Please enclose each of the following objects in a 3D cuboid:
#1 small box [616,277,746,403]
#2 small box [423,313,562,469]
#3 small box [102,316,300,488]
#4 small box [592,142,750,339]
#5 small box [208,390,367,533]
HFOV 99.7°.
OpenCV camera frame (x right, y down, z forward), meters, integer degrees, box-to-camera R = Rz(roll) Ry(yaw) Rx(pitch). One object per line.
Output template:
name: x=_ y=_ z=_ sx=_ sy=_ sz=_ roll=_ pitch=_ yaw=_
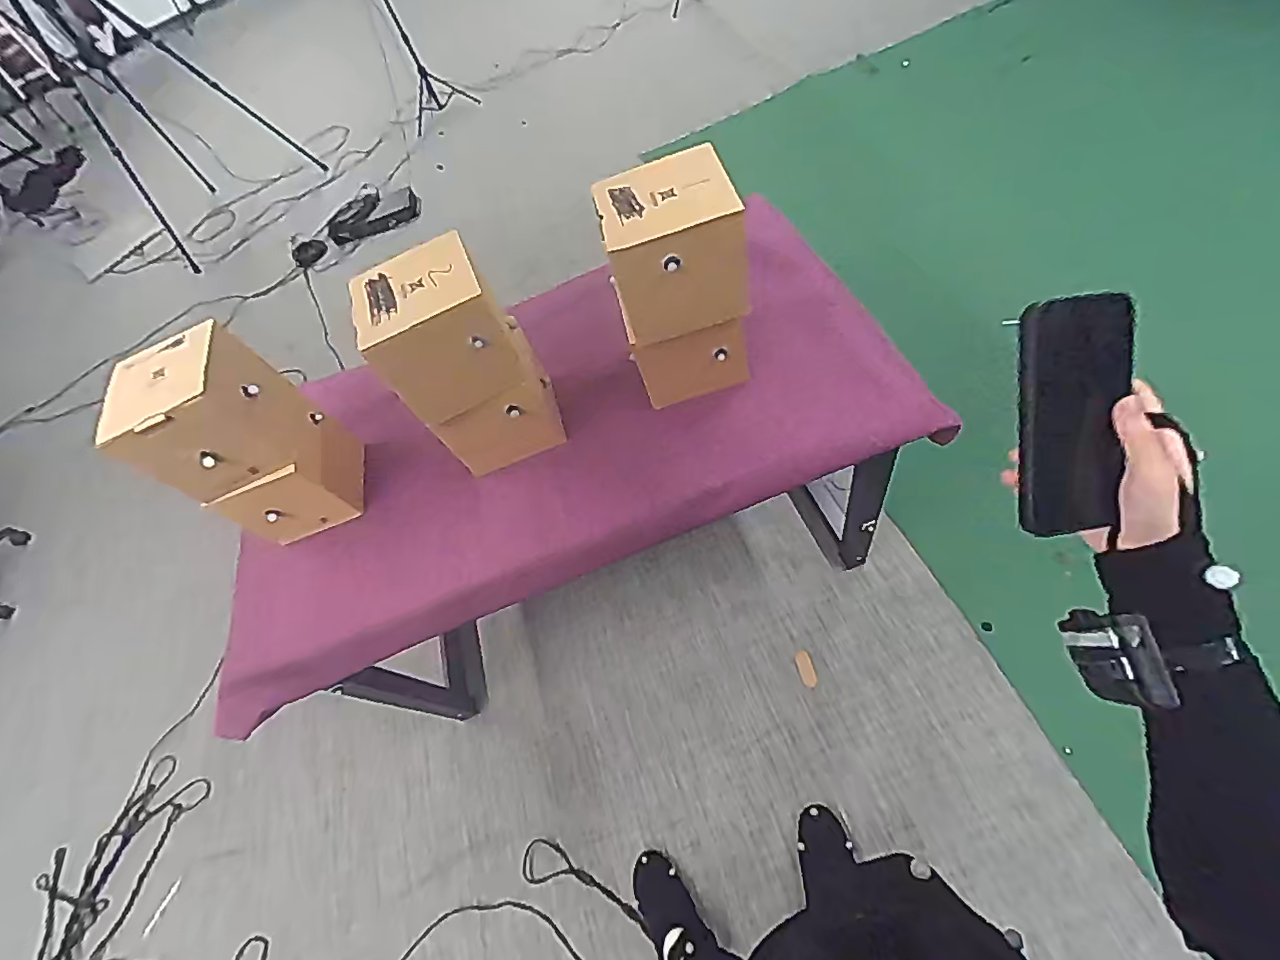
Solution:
small box: x=0.075 y=-0.257 z=0.909 sx=0.179 sy=0.176 sz=0.168 roll=-16 pitch=57 yaw=7
small box: x=-0.247 y=-0.147 z=0.934 sx=0.179 sy=0.176 sz=0.168 roll=-21 pitch=57 yaw=3
small box: x=-0.658 y=-0.109 z=0.835 sx=0.168 sy=0.176 sz=0.179 roll=-25 pitch=58 yaw=0
small box: x=0.047 y=-0.328 z=0.763 sx=0.179 sy=0.176 sz=0.168 roll=-16 pitch=57 yaw=6
small box: x=-0.616 y=-0.022 z=0.968 sx=0.168 sy=0.176 sz=0.179 roll=-21 pitch=57 yaw=4
